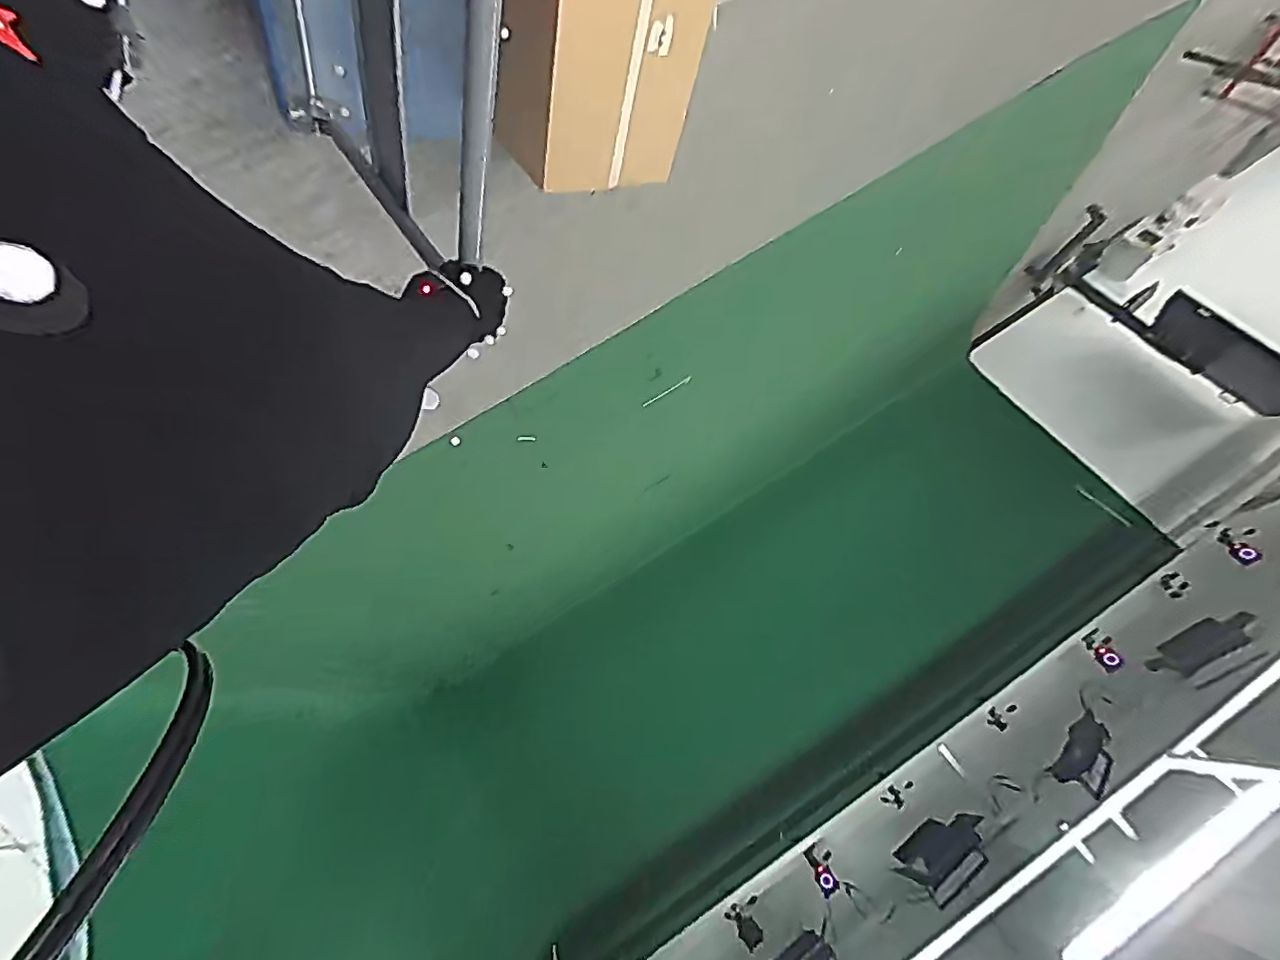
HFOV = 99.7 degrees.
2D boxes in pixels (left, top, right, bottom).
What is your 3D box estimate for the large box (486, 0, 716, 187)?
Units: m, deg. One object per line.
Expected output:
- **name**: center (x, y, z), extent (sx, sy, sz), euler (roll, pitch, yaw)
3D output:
- **large box**: center (-0.092, -0.847, 1.031), extent (0.320, 0.320, 0.408), euler (-23, 154, -28)
